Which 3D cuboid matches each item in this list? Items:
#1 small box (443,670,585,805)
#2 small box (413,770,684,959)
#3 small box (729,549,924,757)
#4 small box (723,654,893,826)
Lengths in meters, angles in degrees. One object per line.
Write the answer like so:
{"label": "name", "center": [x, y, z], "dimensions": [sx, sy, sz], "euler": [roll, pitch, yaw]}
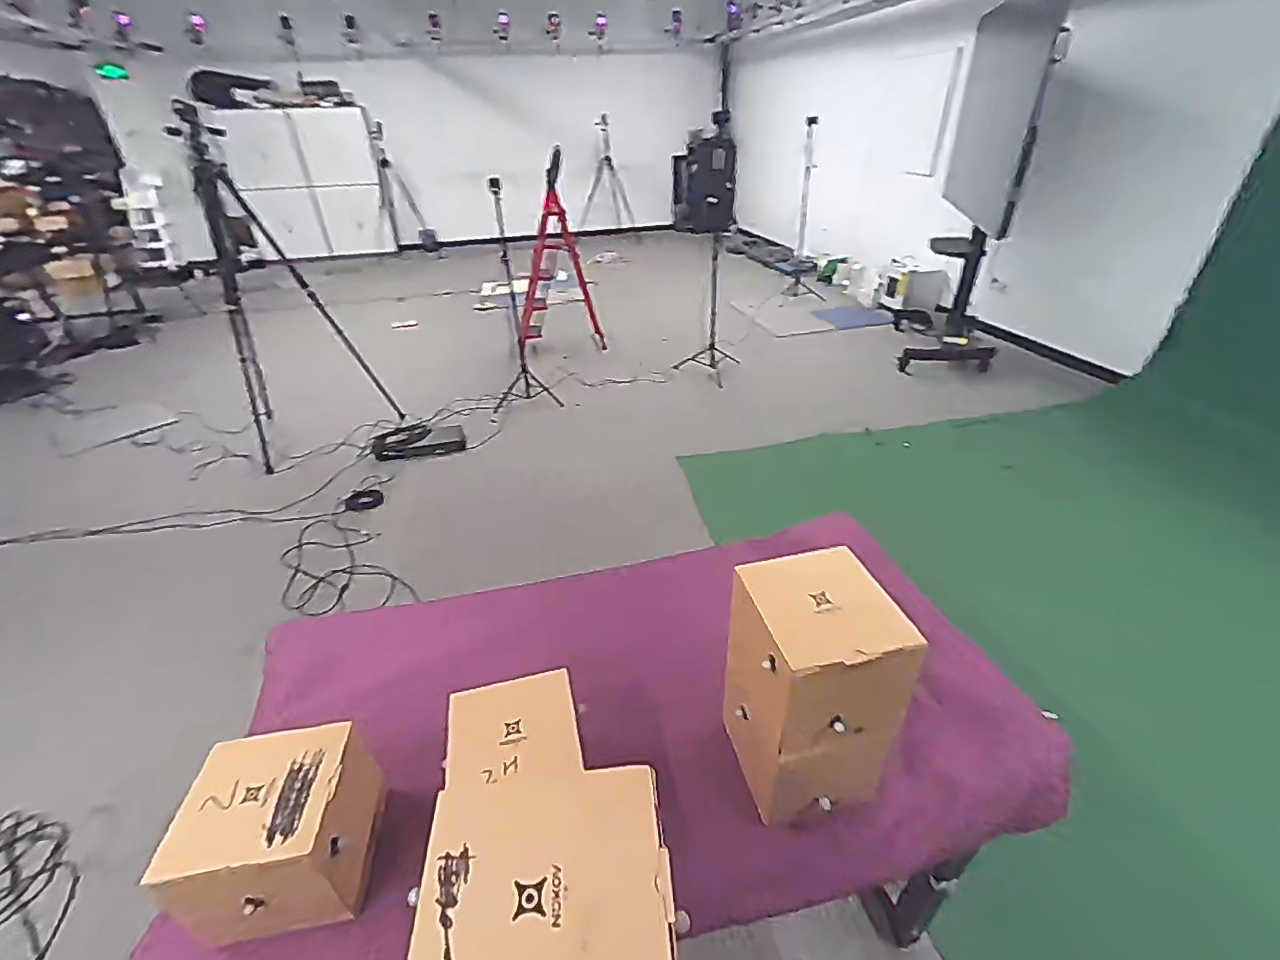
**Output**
{"label": "small box", "center": [-0.163, 0.399, 0.739], "dimensions": [0.168, 0.176, 0.179], "euler": [-10, 33, -11]}
{"label": "small box", "center": [-0.062, 0.354, 0.419], "dimensions": [0.179, 0.176, 0.168], "euler": [-4, 36, -3]}
{"label": "small box", "center": [0.223, 0.218, 0.702], "dimensions": [0.168, 0.176, 0.179], "euler": [-9, 34, -11]}
{"label": "small box", "center": [0.227, 0.357, 0.786], "dimensions": [0.168, 0.176, 0.179], "euler": [-9, 34, -10]}
